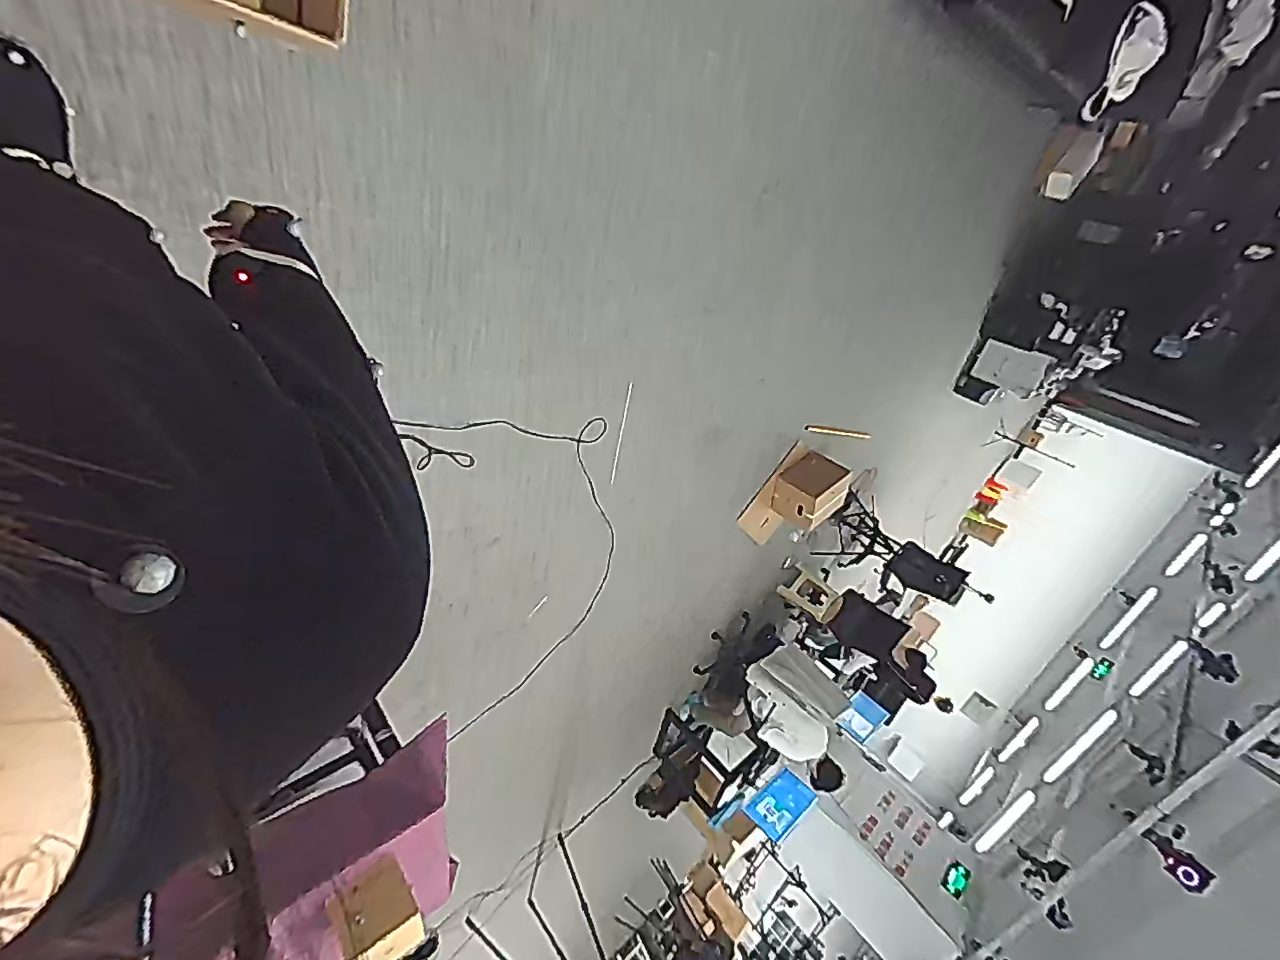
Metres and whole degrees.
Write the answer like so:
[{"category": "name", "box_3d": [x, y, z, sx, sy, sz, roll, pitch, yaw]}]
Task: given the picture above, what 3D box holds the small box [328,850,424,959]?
[{"category": "small box", "box_3d": [-0.666, 1.087, 1.366, 0.168, 0.176, 0.179, -20, 135, -37]}]
